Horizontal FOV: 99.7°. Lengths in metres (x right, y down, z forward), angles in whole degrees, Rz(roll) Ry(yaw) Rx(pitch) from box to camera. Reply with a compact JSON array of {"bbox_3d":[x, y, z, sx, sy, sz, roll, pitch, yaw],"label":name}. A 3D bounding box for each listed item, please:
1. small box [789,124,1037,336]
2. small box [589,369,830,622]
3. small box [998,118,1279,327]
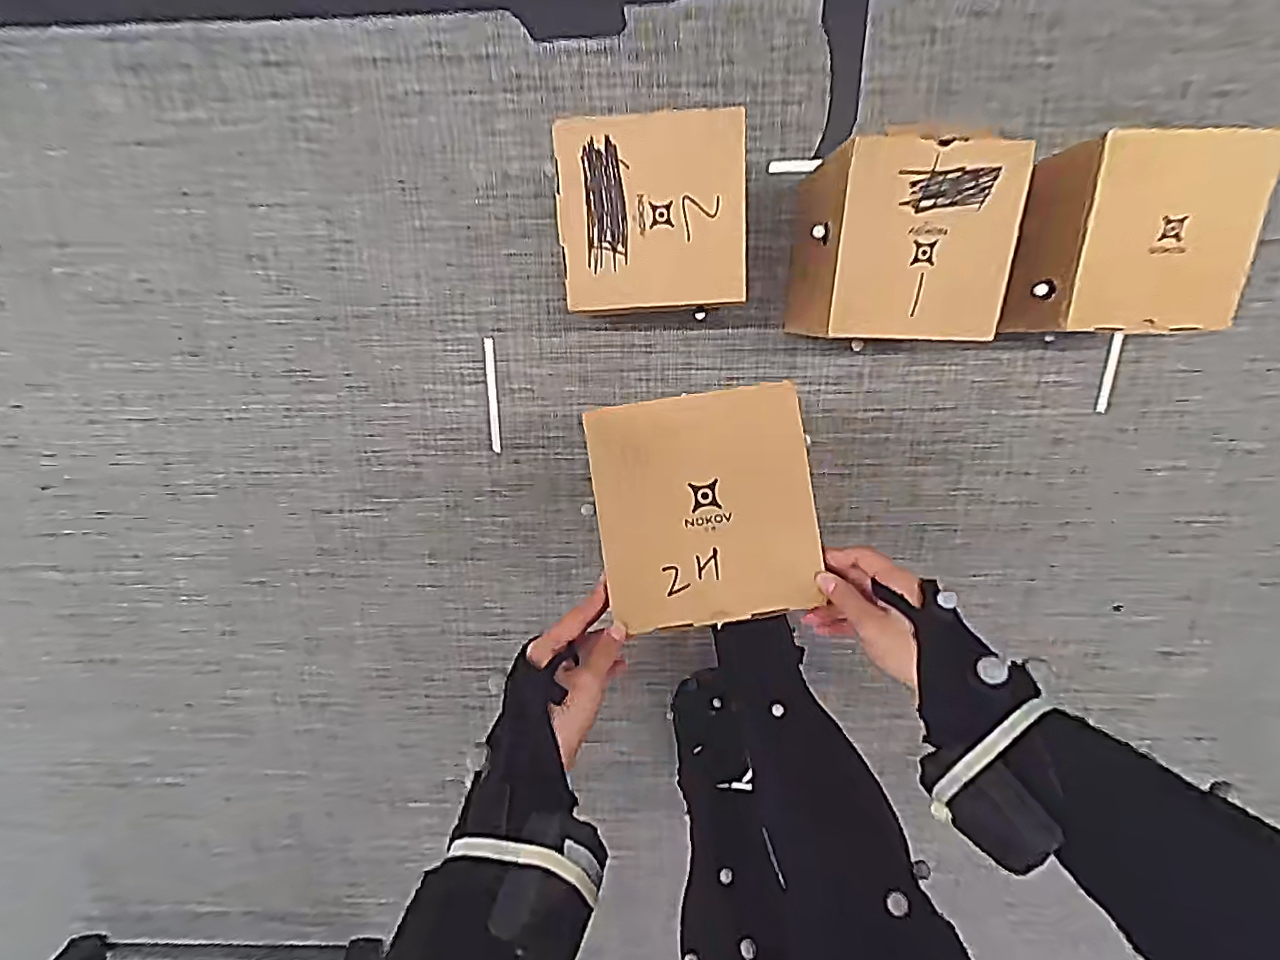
[{"bbox_3d":[0.266,-0.248,0.575,0.168,0.176,0.179,2,107,0],"label":"small box"},{"bbox_3d":[0.051,0.013,0.487,0.168,0.176,0.179,-8,89,0],"label":"small box"},{"bbox_3d":[0.493,-0.256,0.575,0.168,0.176,0.179,0,107,0],"label":"small box"}]
